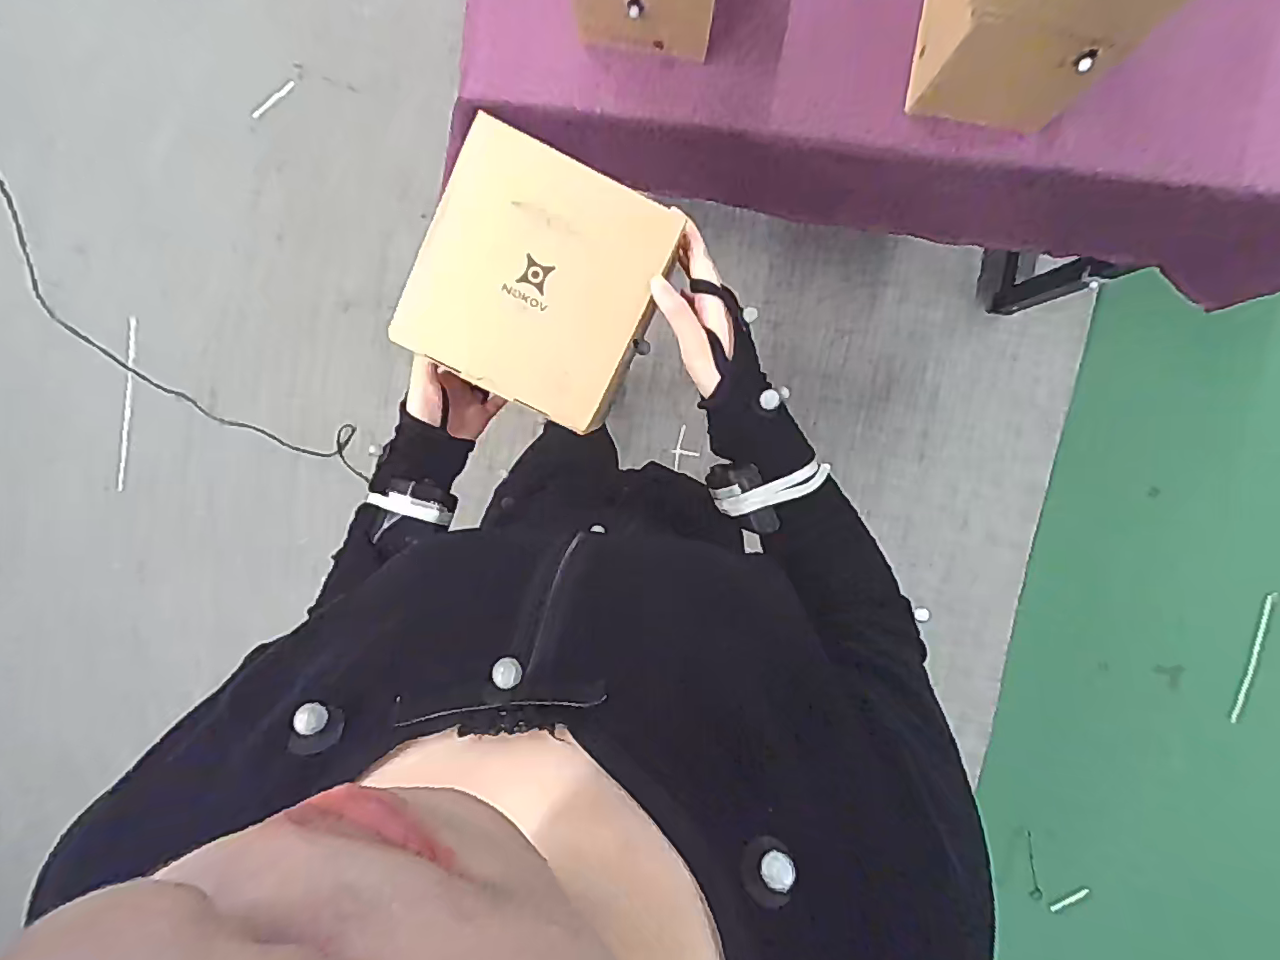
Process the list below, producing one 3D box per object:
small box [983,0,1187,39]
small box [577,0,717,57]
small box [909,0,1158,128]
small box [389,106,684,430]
[{"bbox_3d":[0.424,-0.515,0.443,0.179,0.176,0.168,14,95,0],"label":"small box"},{"bbox_3d":[0.017,-0.626,0.605,0.168,0.176,0.179,10,95,0],"label":"small box"},{"bbox_3d":[0.434,-0.531,0.606,0.179,0.176,0.168,9,95,0],"label":"small box"},{"bbox_3d":[-0.075,-0.161,0.472,0.168,0.176,0.179,27,98,-4],"label":"small box"}]
